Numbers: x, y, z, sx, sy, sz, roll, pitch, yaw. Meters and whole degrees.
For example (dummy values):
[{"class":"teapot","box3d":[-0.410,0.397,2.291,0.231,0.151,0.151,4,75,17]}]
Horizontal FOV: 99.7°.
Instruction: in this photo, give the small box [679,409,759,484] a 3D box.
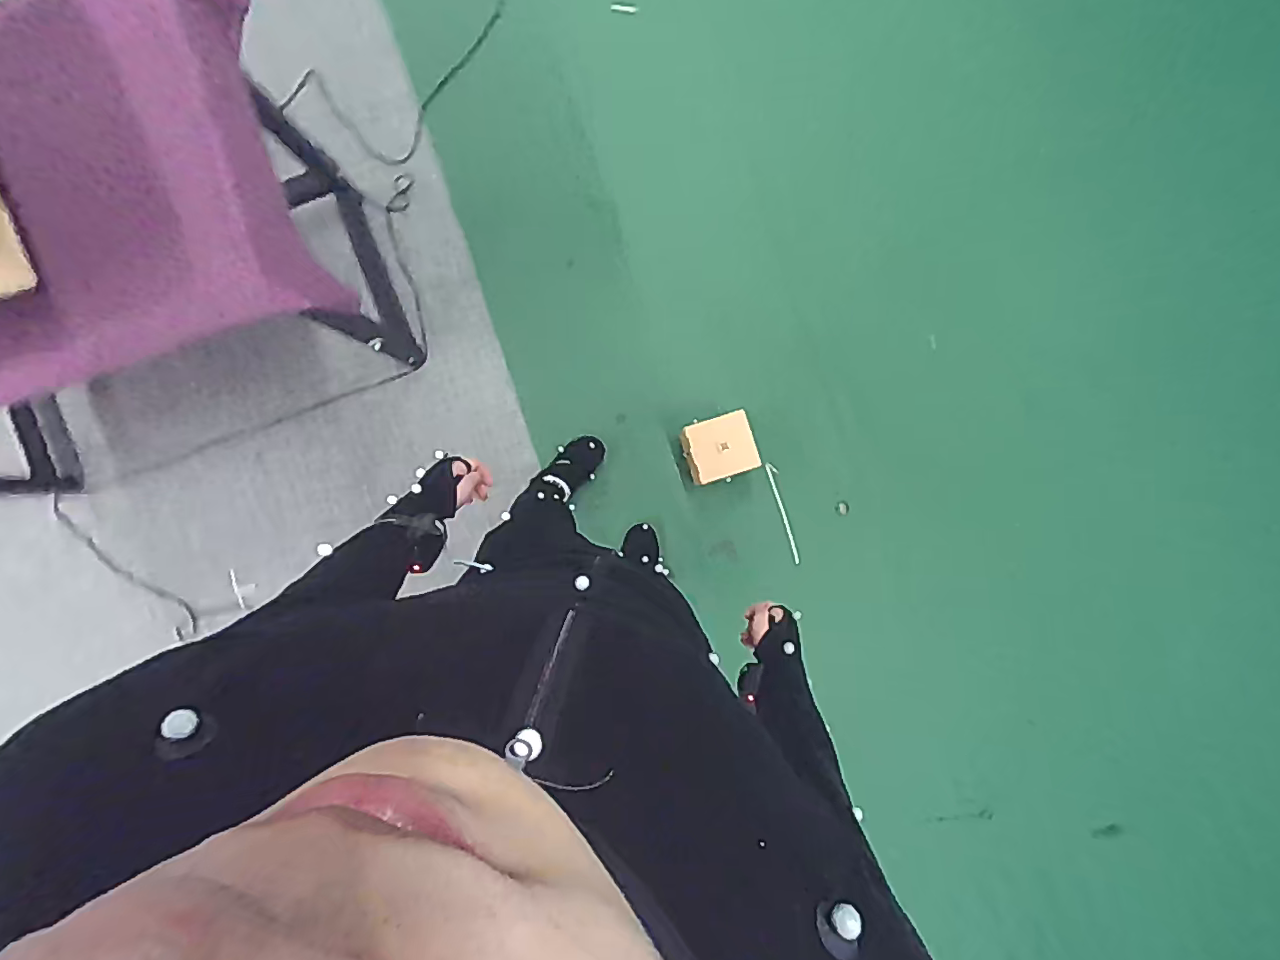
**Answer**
[{"class":"small box","box3d":[0.221,-0.094,1.555,0.179,0.176,0.168,-18,90,0]}]
